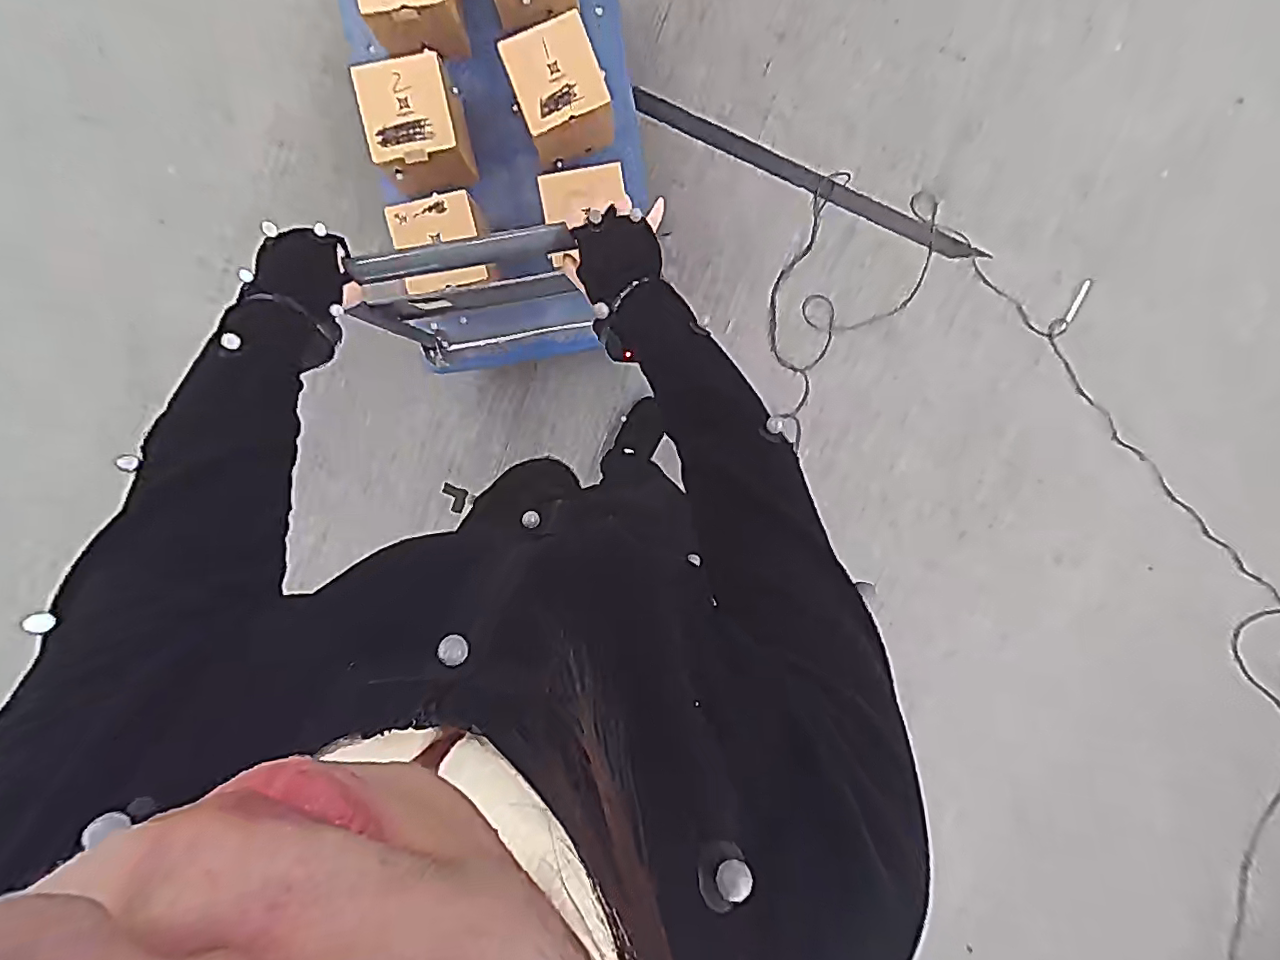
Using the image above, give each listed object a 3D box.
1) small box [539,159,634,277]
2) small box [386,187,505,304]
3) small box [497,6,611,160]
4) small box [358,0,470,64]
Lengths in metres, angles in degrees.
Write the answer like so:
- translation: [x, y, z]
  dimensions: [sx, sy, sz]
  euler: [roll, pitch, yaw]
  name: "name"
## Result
- translation: [-0.104, -0.537, 1.137]
  dimensions: [0.168, 0.176, 0.179]
  euler: [-10, 98, -1]
  name: "small box"
- translation: [-0.397, -0.479, 1.137]
  dimensions: [0.168, 0.176, 0.179]
  euler: [-14, 99, 0]
  name: "small box"
- translation: [-0.163, -0.785, 1.097]
  dimensions: [0.168, 0.176, 0.179]
  euler: [-22, 98, 2]
  name: "small box"
- translation: [-0.449, -0.970, 1.061]
  dimensions: [0.168, 0.176, 0.179]
  euler: [-8, 99, 0]
  name: "small box"
